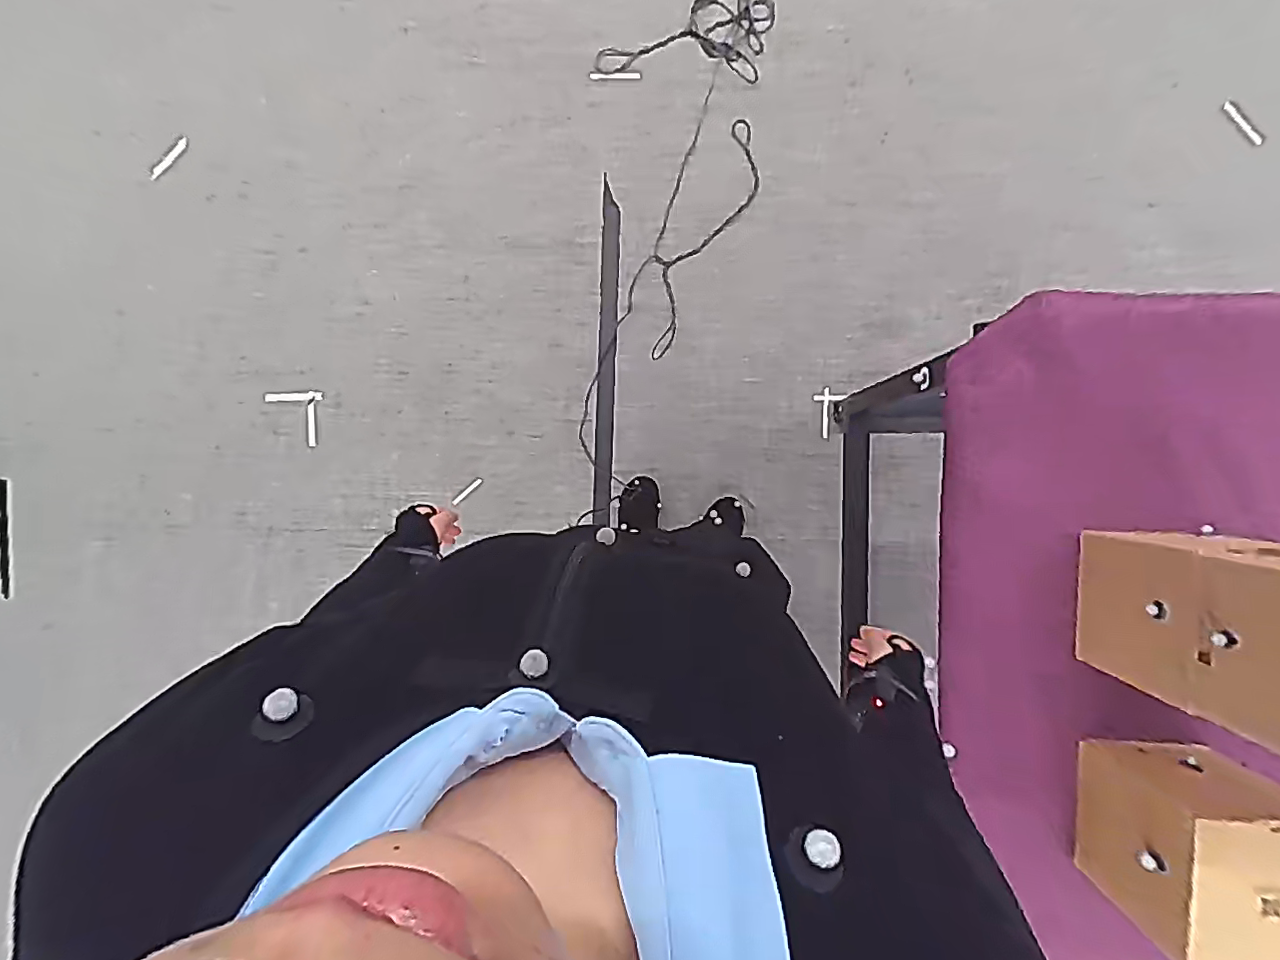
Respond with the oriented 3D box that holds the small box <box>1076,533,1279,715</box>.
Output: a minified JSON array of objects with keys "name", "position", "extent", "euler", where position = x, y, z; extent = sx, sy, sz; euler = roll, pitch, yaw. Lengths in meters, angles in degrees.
[{"name":"small box","position":[0.668,0.159,0.647],"extent":[0.168,0.176,0.179],"euler":[1,92,4]}]

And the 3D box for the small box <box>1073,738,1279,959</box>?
[{"name":"small box","position":[0.670,0.445,0.656],"extent":[0.168,0.176,0.179],"euler":[2,91,4]}]
